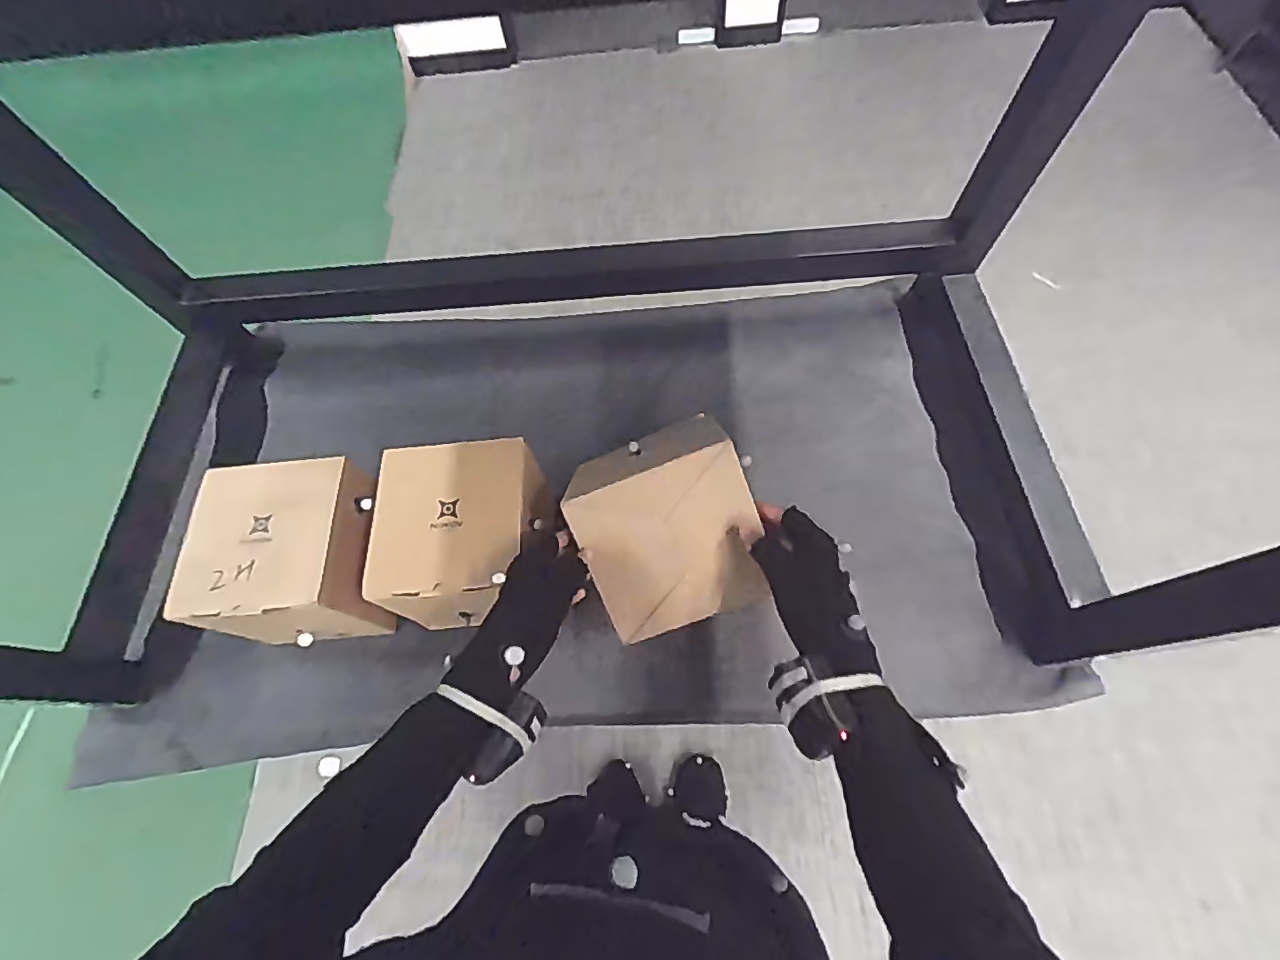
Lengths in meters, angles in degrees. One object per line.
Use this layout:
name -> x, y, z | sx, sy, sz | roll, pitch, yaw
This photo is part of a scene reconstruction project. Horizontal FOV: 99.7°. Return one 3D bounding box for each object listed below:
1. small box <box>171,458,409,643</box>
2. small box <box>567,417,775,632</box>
small box -> -0.404, 0.092, 0.663 | 0.168, 0.176, 0.179 | -5, 64, 1
small box -> 0.034, 0.044, 0.610 | 0.179, 0.176, 0.168 | -21, 101, 4
